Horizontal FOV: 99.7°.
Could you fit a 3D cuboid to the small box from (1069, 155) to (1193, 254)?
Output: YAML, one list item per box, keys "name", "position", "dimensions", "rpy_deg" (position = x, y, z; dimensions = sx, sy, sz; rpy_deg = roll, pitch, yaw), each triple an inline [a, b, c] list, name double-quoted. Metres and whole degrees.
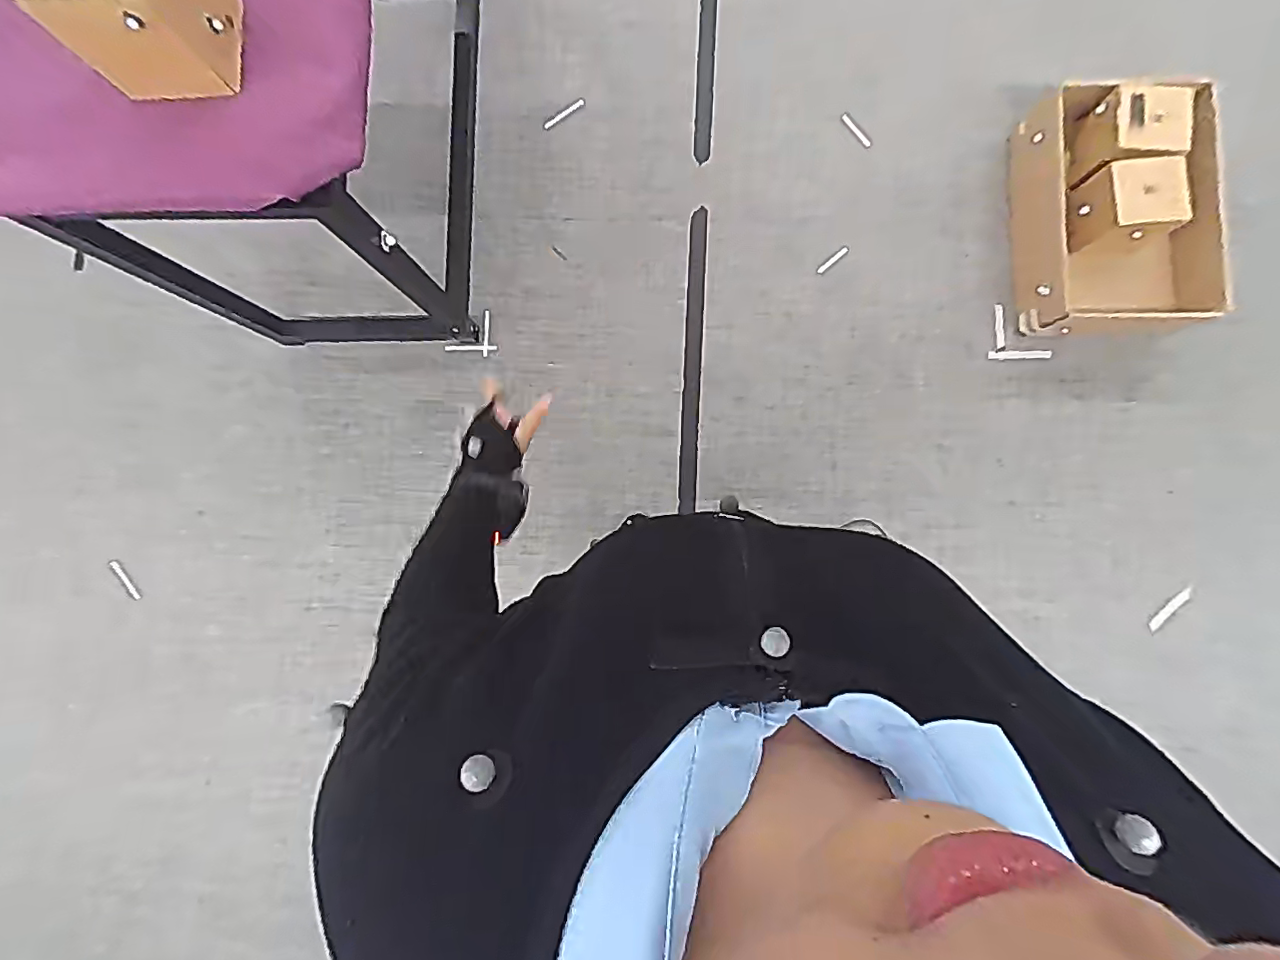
- name: "small box"
  position: [1.257, -0.705, 1.401]
  dimensions: [0.179, 0.176, 0.168]
  rpy_deg: [-3, 87, 2]

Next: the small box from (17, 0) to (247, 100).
- name: "small box"
  position: [-0.721, -0.691, 0.786]
  dimensions: [0.179, 0.176, 0.168]
  rpy_deg: [-2, 85, 1]
